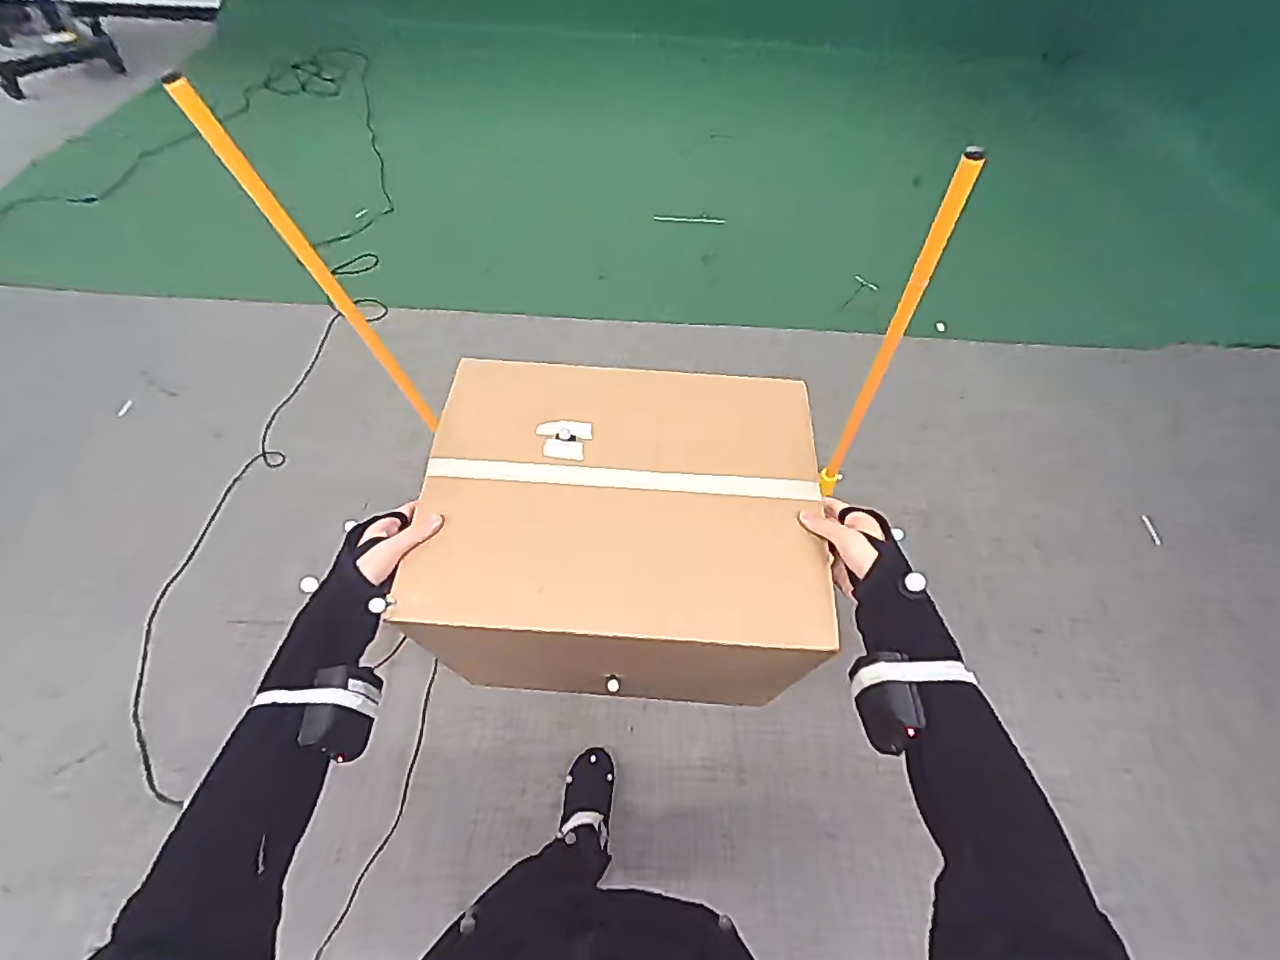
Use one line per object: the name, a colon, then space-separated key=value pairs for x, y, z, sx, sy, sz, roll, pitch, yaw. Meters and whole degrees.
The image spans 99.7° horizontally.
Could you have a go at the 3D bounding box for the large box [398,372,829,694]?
large box: x=-0.019 y=0.085 z=0.696 sx=0.408 sy=0.320 sz=0.320 roll=3 pitch=58 yaw=1
